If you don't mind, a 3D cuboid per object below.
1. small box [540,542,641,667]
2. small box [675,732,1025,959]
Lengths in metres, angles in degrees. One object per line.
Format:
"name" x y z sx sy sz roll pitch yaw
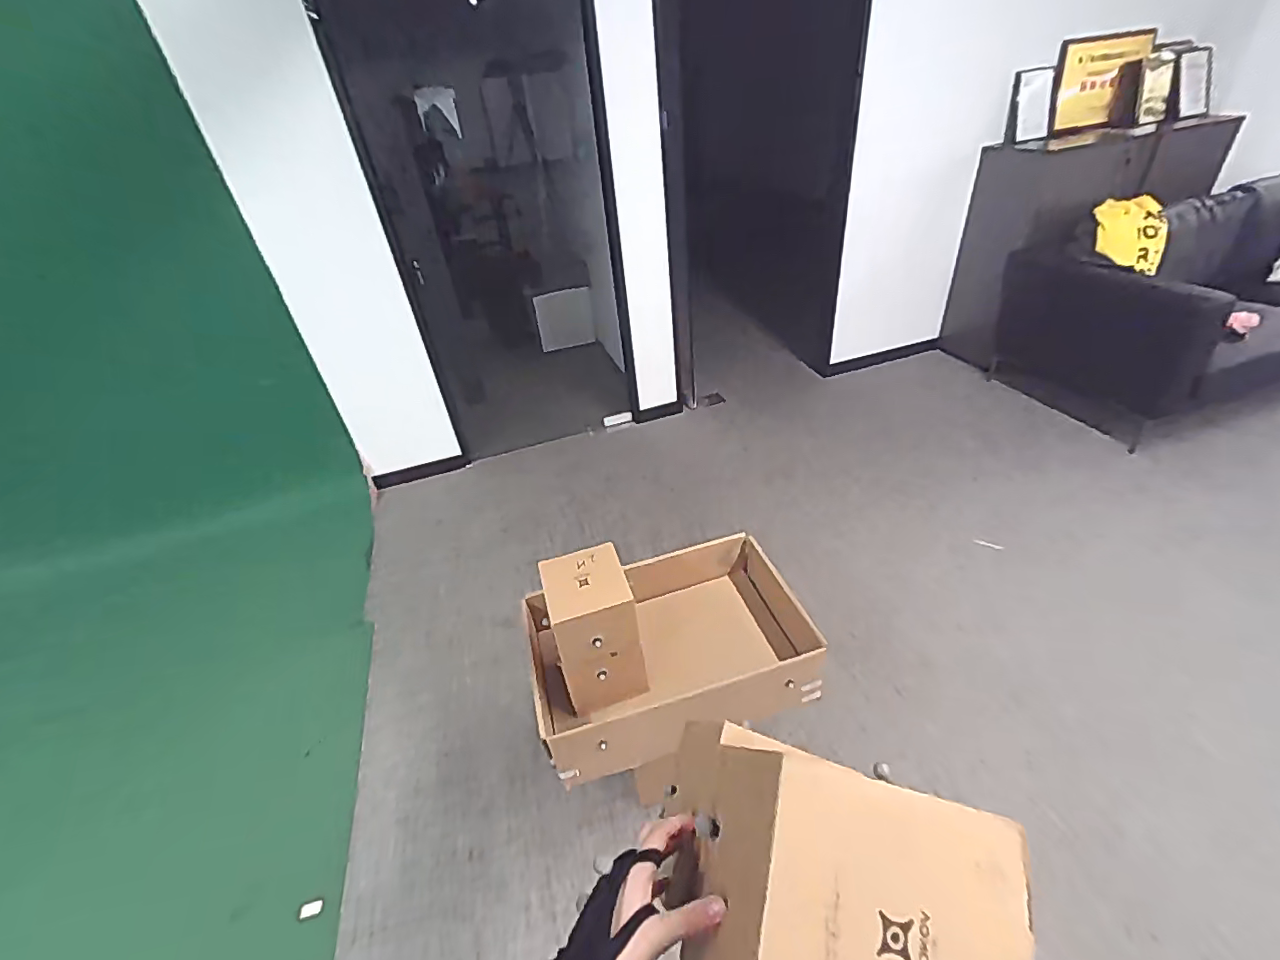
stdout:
"small box" -0.102 0.264 1.128 0.168 0.176 0.179 -14 37 -10
"small box" 0.140 0.293 0.397 0.179 0.176 0.168 17 64 0
